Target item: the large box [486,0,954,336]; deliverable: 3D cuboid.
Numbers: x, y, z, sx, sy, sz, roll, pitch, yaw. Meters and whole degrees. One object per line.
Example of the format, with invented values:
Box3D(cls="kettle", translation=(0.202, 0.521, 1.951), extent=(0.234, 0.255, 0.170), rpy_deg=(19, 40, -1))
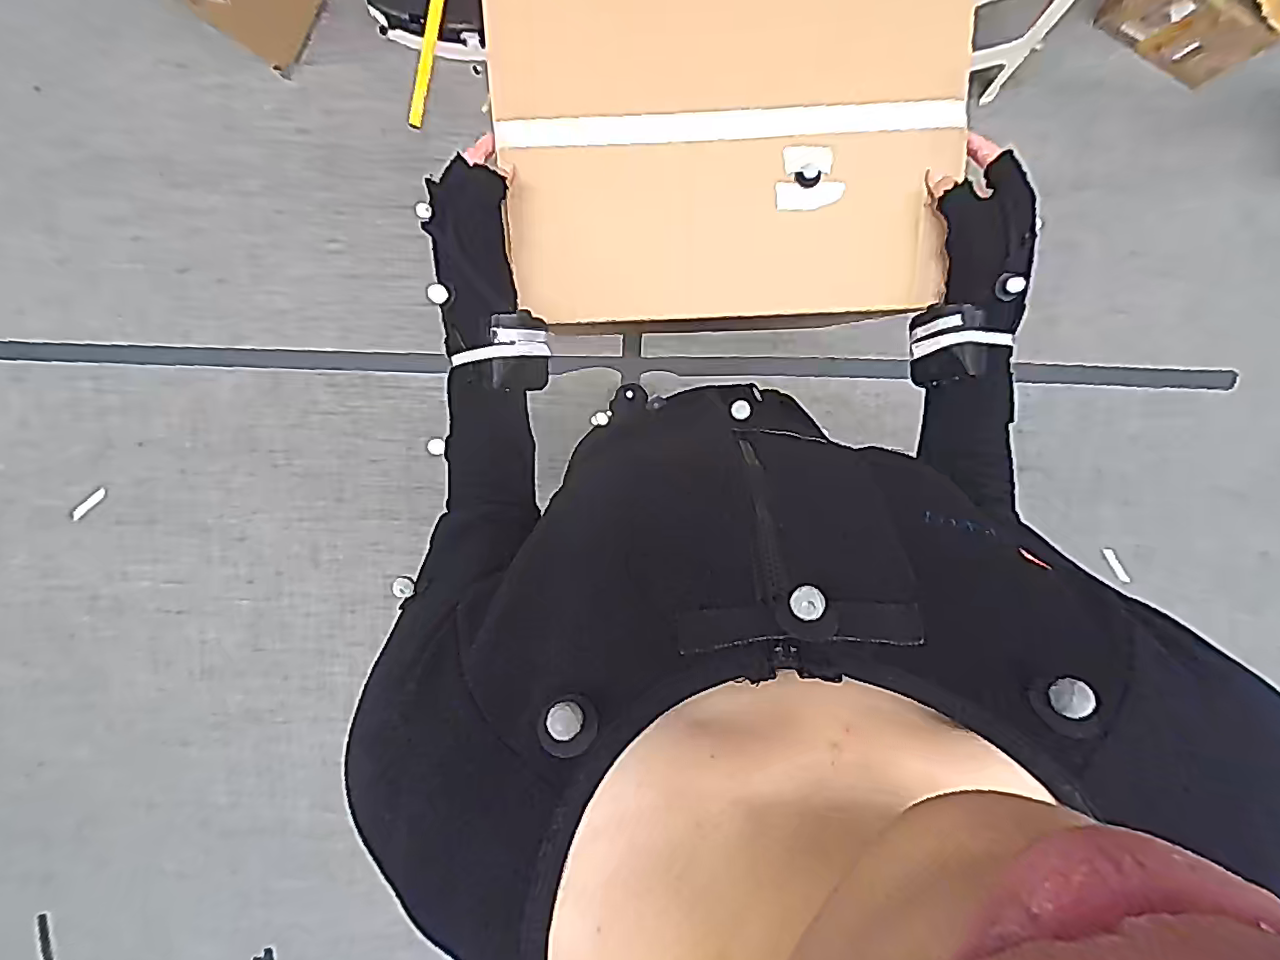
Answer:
Box3D(cls="large box", translation=(0.070, -0.342, 0.624), extent=(0.408, 0.320, 0.320), rpy_deg=(-2, 103, 0))
